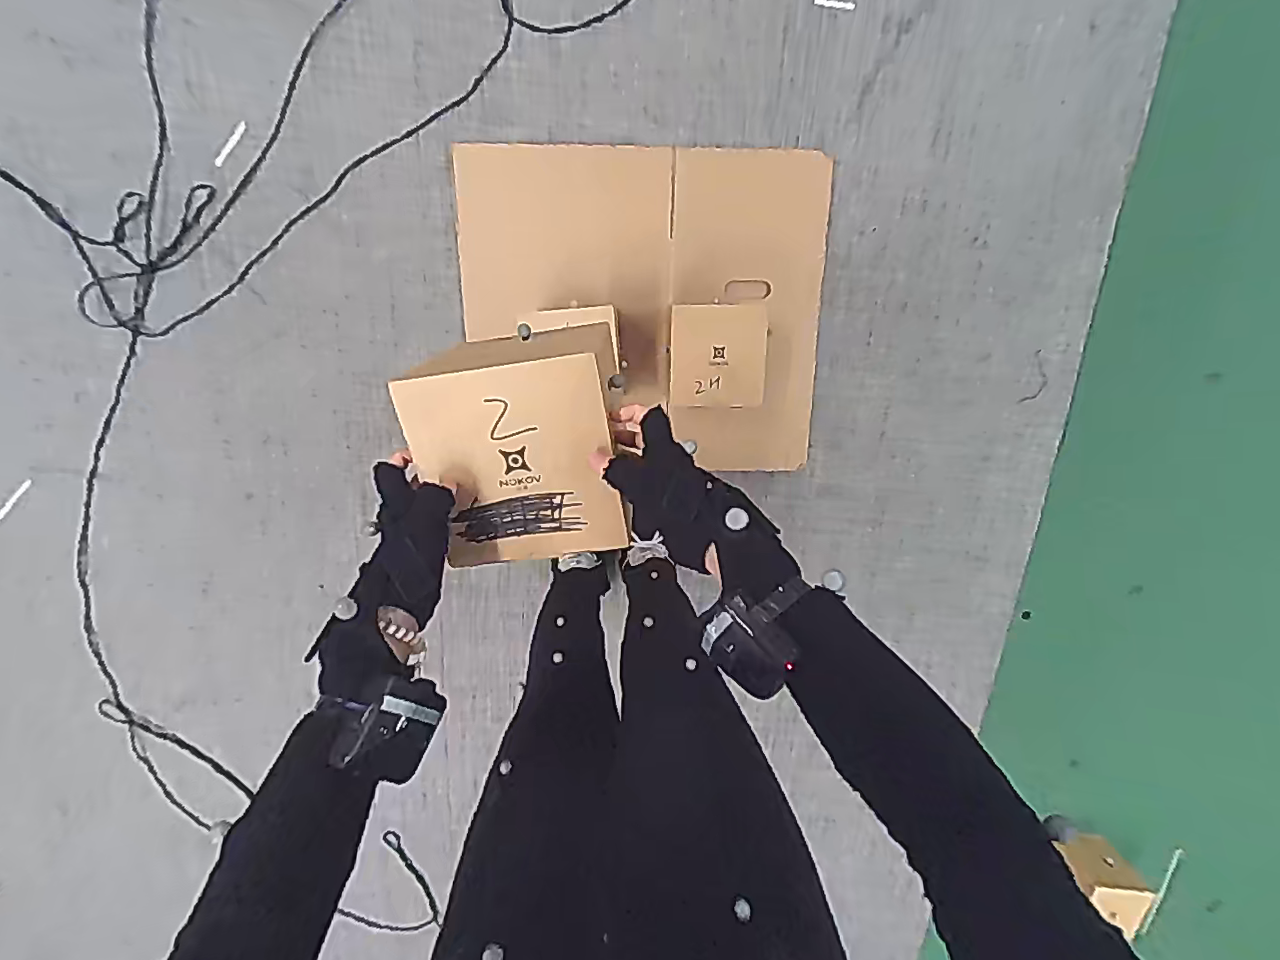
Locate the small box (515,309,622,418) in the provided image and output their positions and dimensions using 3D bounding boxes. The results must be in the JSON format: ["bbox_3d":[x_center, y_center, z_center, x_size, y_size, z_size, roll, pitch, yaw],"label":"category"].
[{"bbox_3d":[-0.122,-0.218,0.995,0.168,0.176,0.179,-5,105,0],"label":"small box"}]

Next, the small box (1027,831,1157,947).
[{"bbox_3d":[1.151,1.048,1.394,0.168,0.176,0.179,9,105,-4],"label":"small box"}]

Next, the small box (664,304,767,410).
[{"bbox_3d":[0.130,-0.229,1.001,0.168,0.176,0.179,0,106,0],"label":"small box"}]
